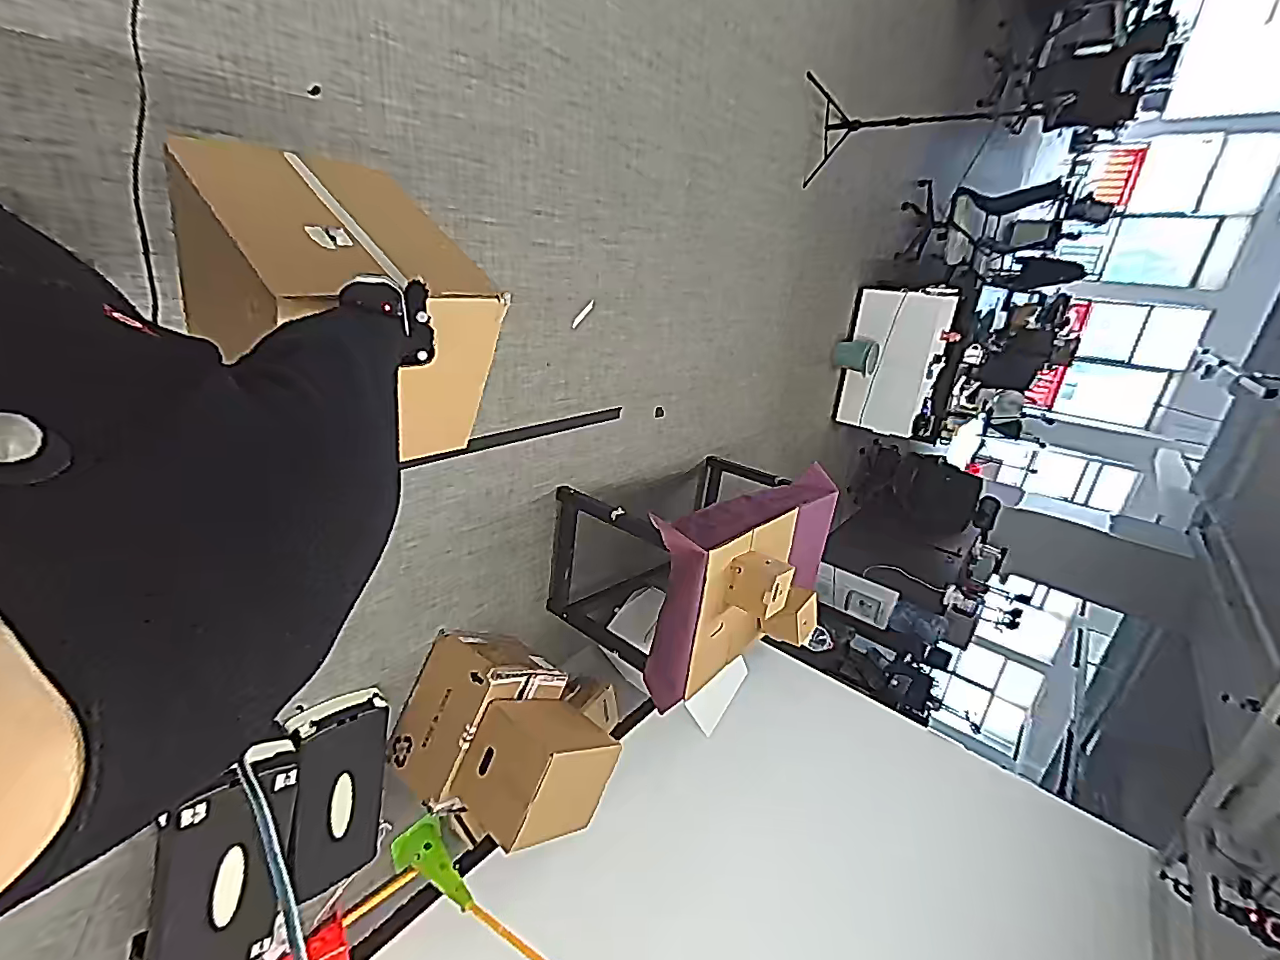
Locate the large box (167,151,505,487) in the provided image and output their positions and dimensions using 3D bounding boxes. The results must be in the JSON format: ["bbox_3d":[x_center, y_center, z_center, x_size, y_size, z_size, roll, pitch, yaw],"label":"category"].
[{"bbox_3d":[-0.497,-0.259,0.886,0.320,0.408,0.320,-22,151,-46],"label":"large box"}]
